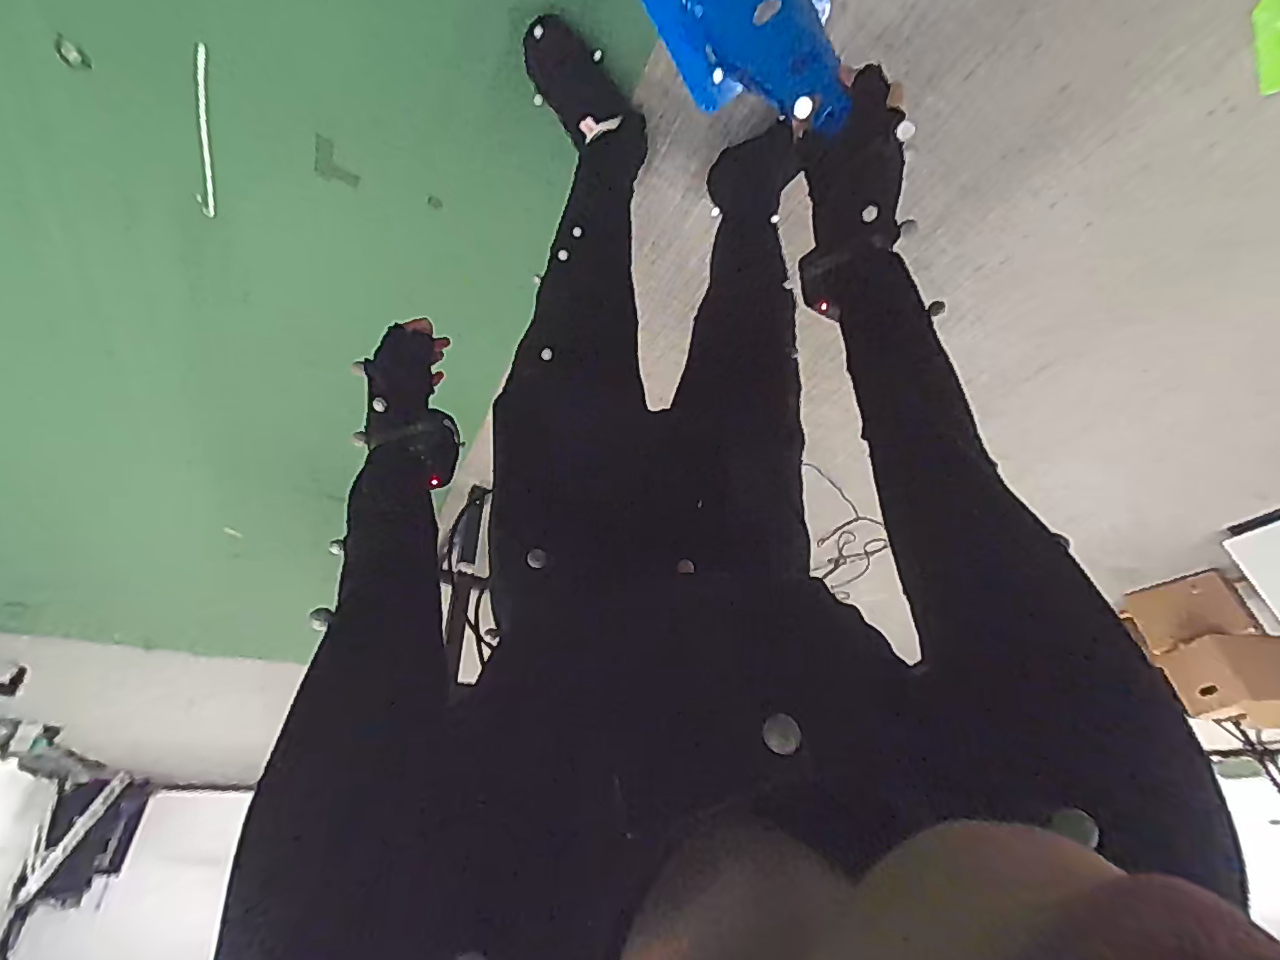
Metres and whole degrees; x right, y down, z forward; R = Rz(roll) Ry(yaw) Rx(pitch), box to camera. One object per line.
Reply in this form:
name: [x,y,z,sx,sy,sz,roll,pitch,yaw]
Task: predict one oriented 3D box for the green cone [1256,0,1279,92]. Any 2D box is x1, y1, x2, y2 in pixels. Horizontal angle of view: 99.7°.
green cone: [1.125,-0.629,0.759,0.202,0.368,0.200,25,136,-33]
